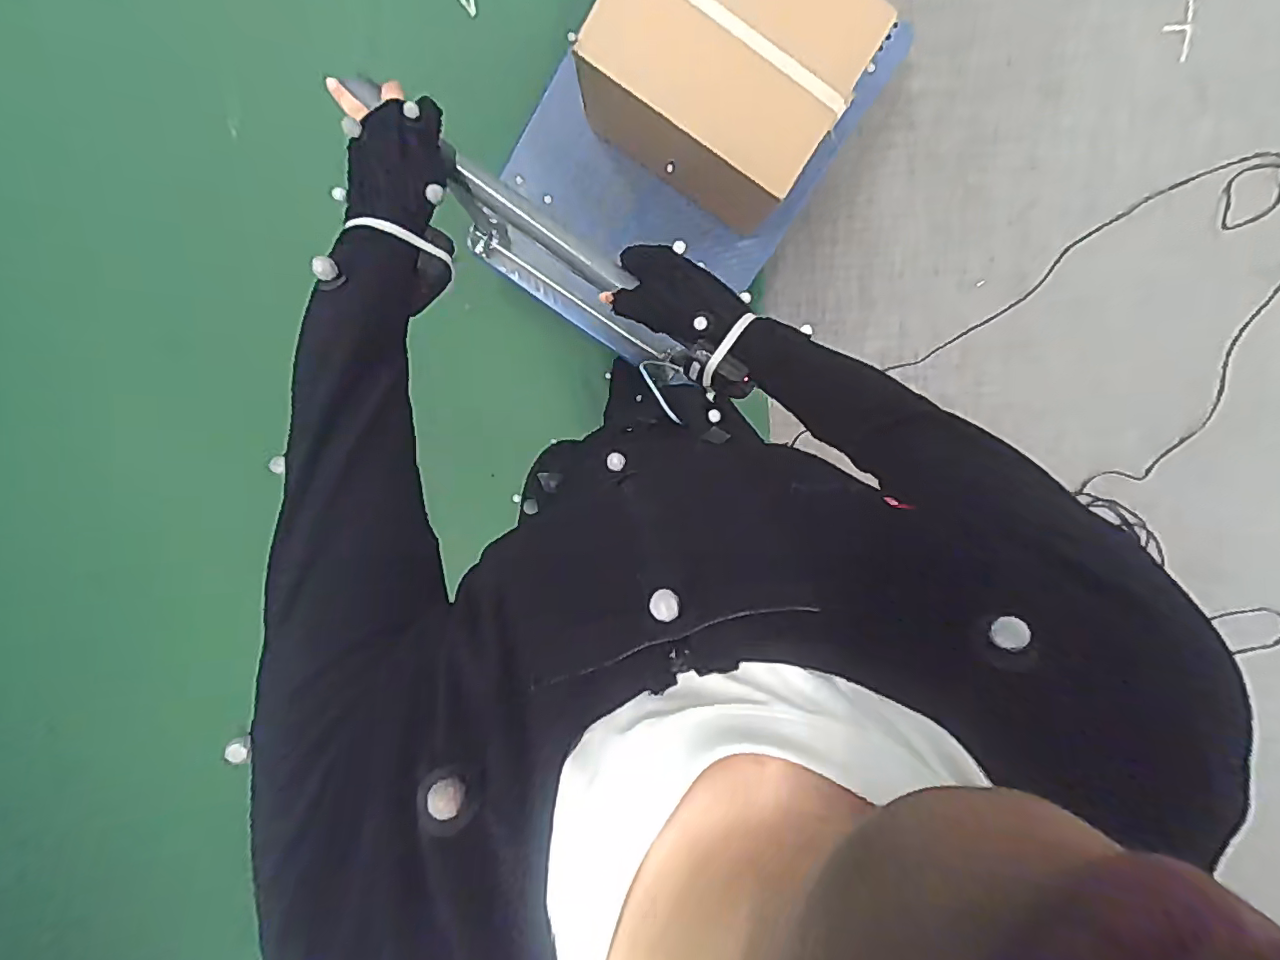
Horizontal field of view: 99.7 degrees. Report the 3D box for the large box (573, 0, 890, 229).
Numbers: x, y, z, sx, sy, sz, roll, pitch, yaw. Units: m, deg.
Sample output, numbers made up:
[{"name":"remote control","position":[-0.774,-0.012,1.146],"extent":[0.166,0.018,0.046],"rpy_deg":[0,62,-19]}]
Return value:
[{"name":"large box","position":[0.143,-0.729,0.982],"extent":[0.408,0.320,0.320],"rpy_deg":[31,101,-7]}]
